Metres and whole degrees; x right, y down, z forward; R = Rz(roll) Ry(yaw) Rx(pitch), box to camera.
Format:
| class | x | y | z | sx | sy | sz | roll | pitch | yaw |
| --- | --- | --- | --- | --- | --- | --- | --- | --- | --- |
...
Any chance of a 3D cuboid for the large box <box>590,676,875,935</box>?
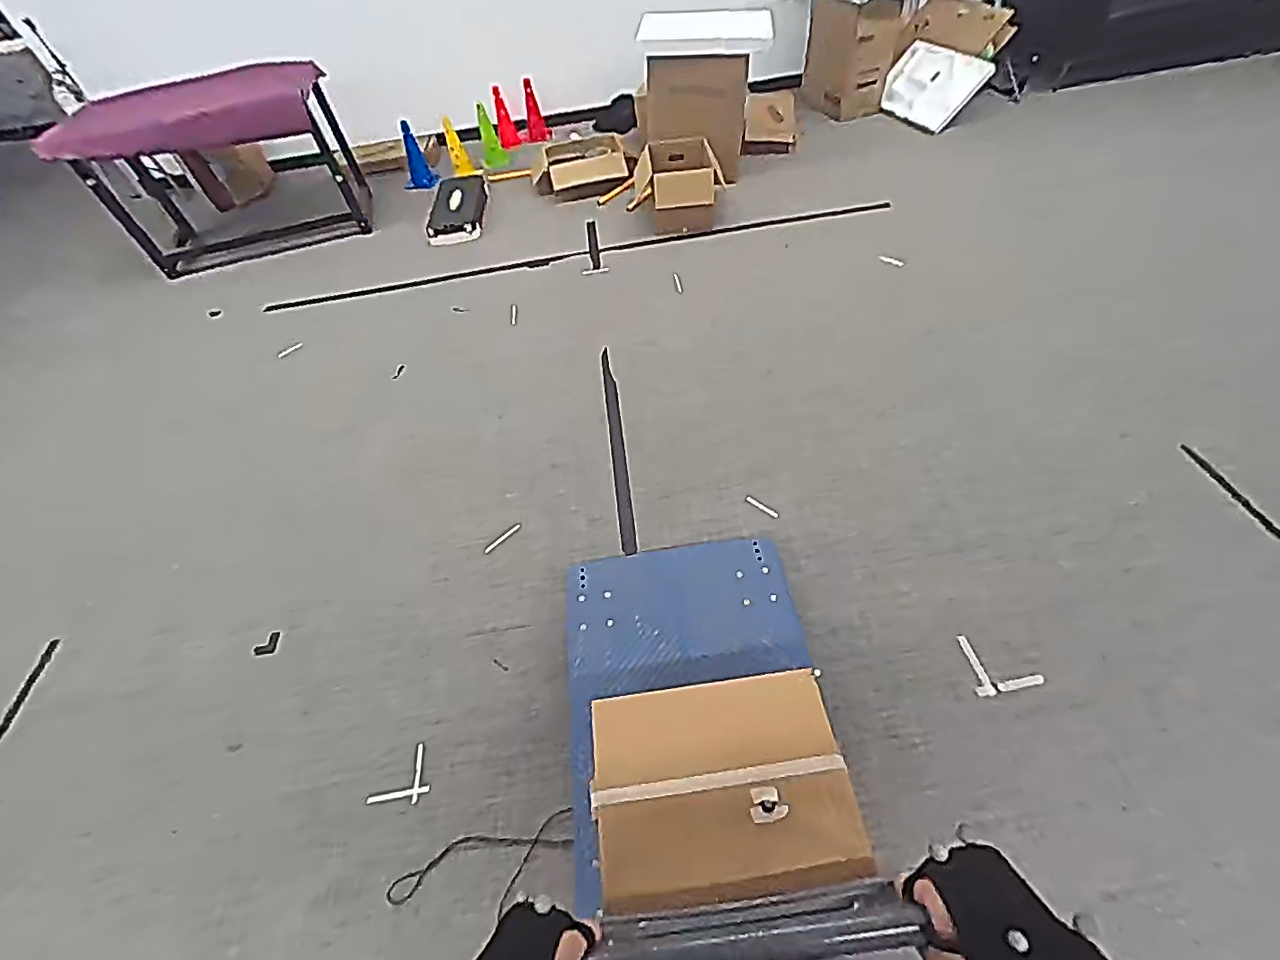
| class | x | y | z | sx | sy | sz | roll | pitch | yaw |
| --- | --- | --- | --- | --- | --- | --- | --- | --- | --- |
| large box | 0.137 | 0.593 | 0.979 | 0.408 | 0.320 | 0.320 | -8 | 50 | -1 |
